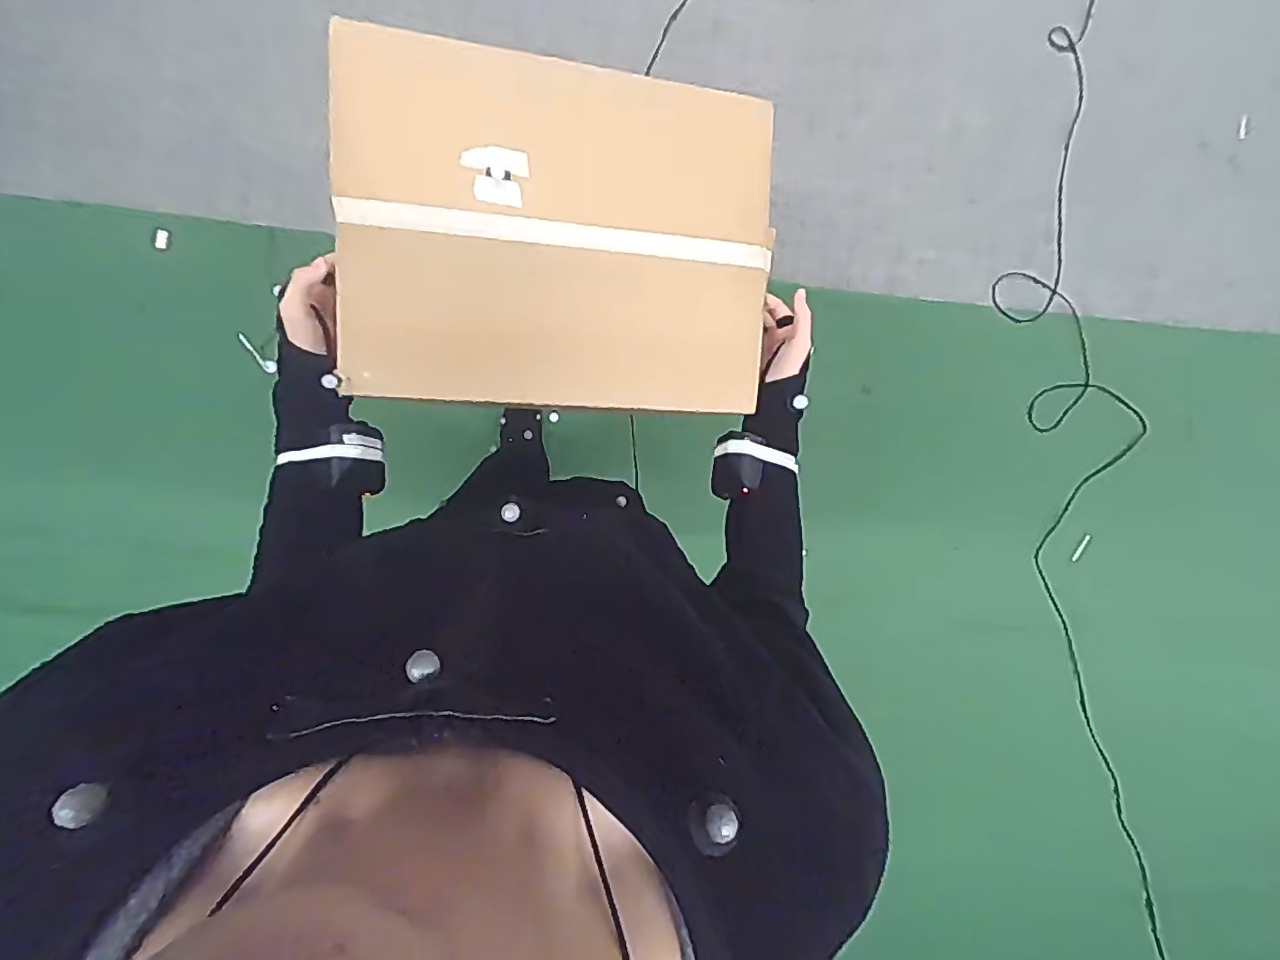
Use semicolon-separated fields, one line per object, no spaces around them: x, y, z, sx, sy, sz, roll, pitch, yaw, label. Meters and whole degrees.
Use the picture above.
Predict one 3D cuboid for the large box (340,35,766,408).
-0.099;-0.252;0.668;0.408;0.320;0.320;1;96;-12;large box
